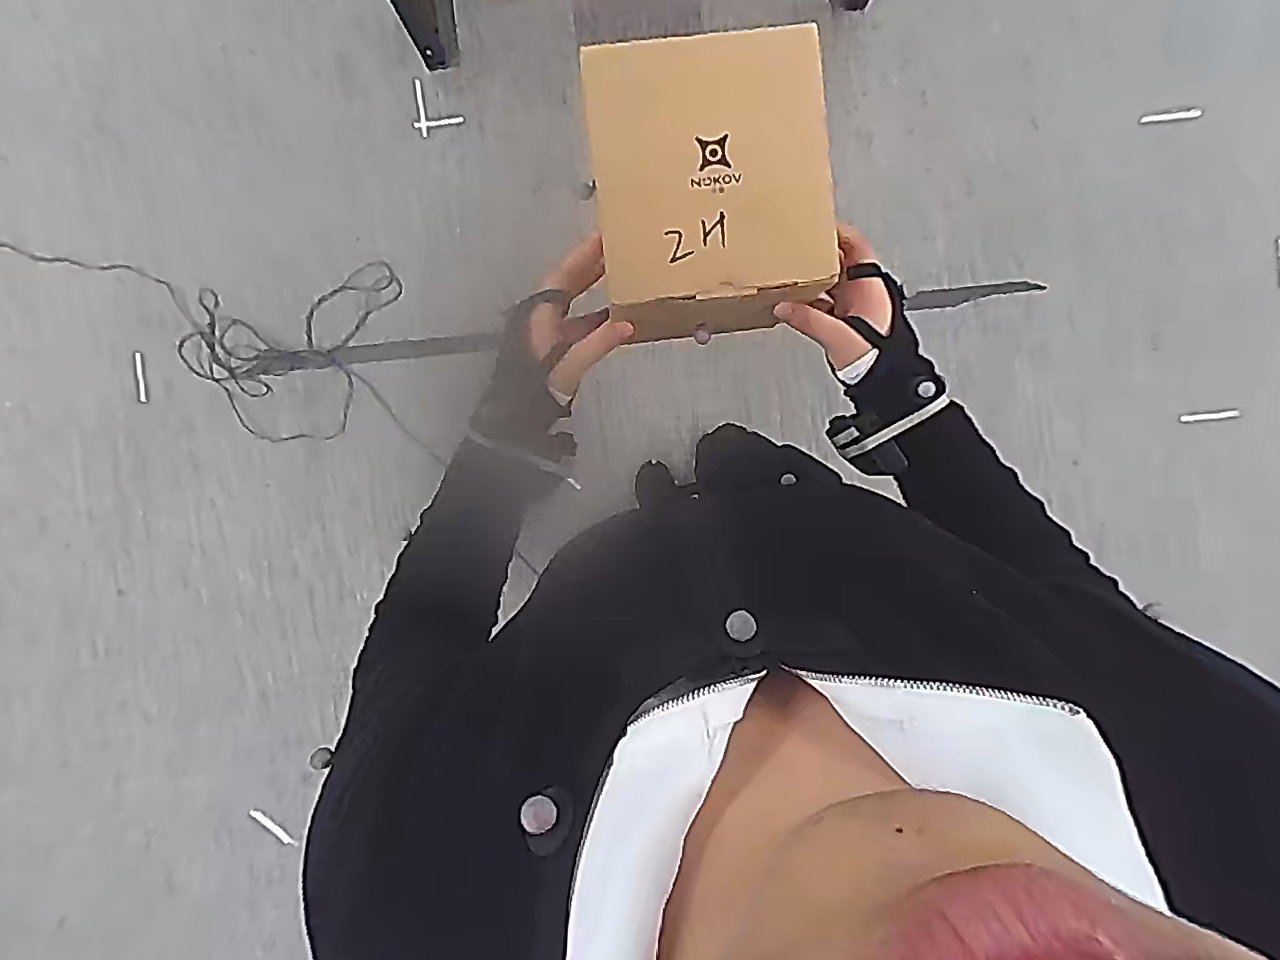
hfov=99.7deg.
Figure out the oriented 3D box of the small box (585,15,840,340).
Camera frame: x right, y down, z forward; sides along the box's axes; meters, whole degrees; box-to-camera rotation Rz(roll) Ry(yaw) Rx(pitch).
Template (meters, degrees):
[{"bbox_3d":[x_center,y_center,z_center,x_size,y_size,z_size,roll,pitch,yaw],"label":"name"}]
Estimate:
[{"bbox_3d":[0.047,-0.229,0.452,0.168,0.176,0.179,-7,94,-1],"label":"small box"}]
